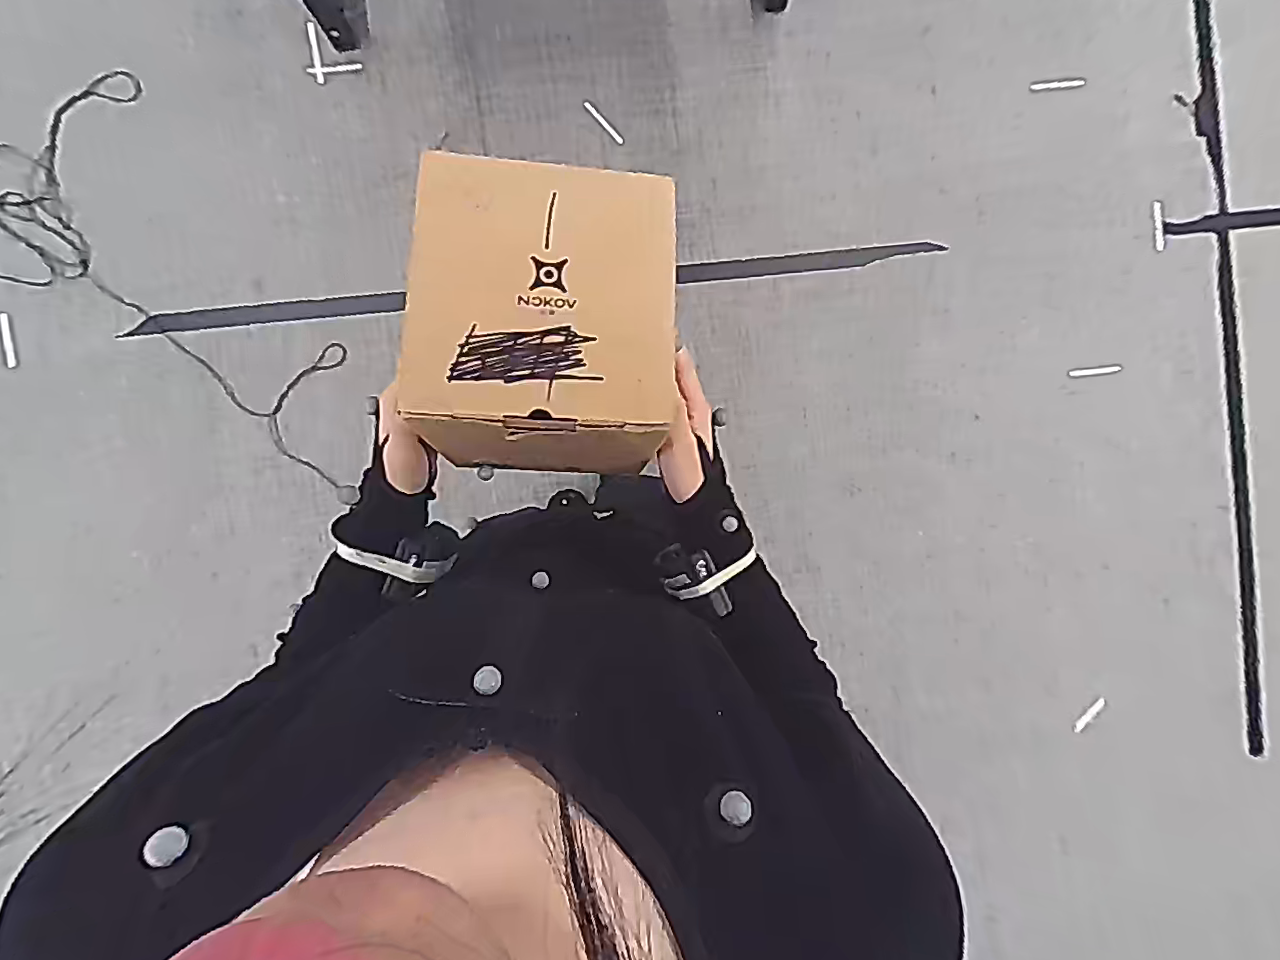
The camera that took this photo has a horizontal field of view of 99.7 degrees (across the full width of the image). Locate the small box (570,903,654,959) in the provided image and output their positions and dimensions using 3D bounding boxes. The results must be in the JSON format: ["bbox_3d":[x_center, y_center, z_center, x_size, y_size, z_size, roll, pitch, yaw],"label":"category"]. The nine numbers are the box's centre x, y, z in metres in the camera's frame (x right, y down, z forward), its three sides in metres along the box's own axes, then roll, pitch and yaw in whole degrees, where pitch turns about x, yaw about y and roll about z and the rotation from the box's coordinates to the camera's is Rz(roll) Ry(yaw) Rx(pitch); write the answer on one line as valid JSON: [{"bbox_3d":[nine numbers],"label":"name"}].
[{"bbox_3d":[-0.056,1.056,1.161,0.179,0.176,0.168,-8,92,-2],"label":"small box"}]

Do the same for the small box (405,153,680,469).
[{"bbox_3d":[-0.066,-0.107,0.418,0.168,0.176,0.179,2,80,-7],"label":"small box"}]
